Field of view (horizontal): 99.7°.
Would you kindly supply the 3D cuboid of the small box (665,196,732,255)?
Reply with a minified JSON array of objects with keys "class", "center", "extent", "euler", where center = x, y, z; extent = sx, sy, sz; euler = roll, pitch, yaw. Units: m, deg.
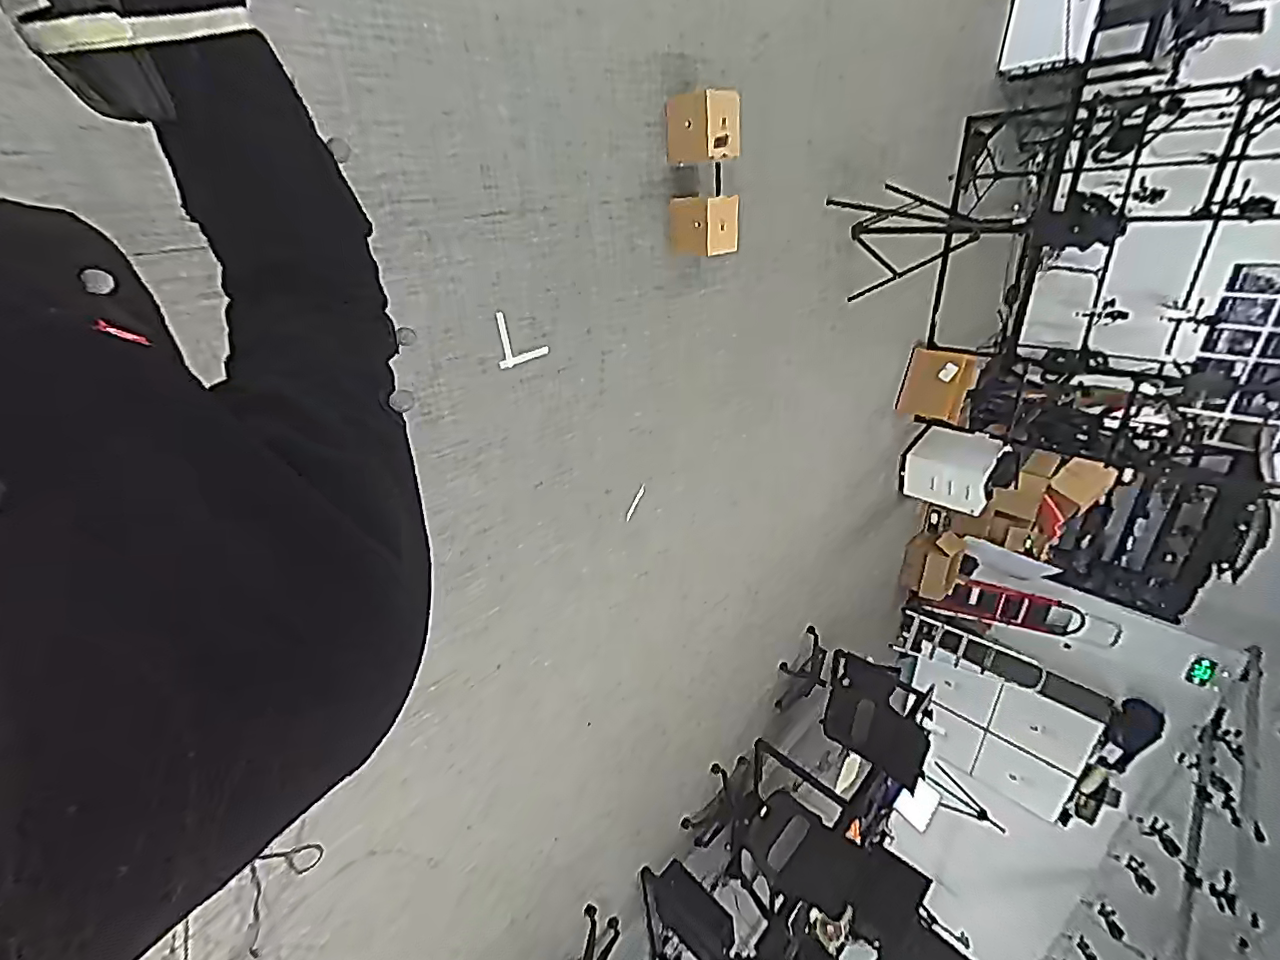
[{"class":"small box","center":[0.201,-0.882,1.874],"extent":[0.168,0.176,0.179],"euler":[-26,124,-37]}]

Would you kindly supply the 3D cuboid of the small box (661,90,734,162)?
[{"class":"small box","center":[0.184,-1.132,1.739],"extent":[0.168,0.176,0.179],"euler":[-28,125,-37]}]
